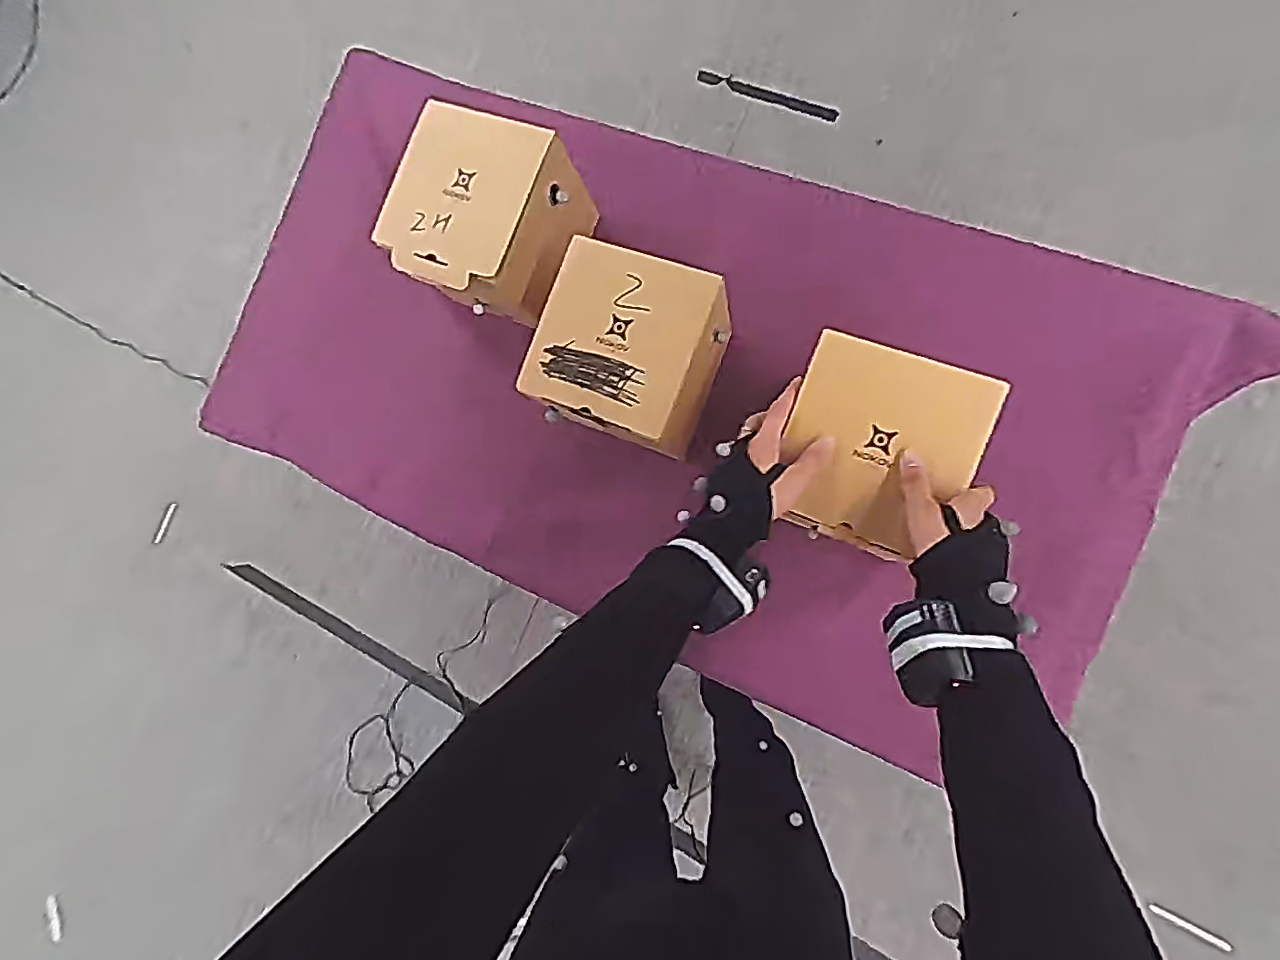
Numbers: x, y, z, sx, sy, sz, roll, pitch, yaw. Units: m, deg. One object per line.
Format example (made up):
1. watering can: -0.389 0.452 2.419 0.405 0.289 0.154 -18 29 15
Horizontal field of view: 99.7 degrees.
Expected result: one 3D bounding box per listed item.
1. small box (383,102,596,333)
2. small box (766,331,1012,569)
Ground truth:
1. small box: -0.170 -0.311 0.670 0.168 0.176 0.179 22 91 13
2. small box: 0.236 -0.026 0.564 0.168 0.176 0.179 21 91 13
